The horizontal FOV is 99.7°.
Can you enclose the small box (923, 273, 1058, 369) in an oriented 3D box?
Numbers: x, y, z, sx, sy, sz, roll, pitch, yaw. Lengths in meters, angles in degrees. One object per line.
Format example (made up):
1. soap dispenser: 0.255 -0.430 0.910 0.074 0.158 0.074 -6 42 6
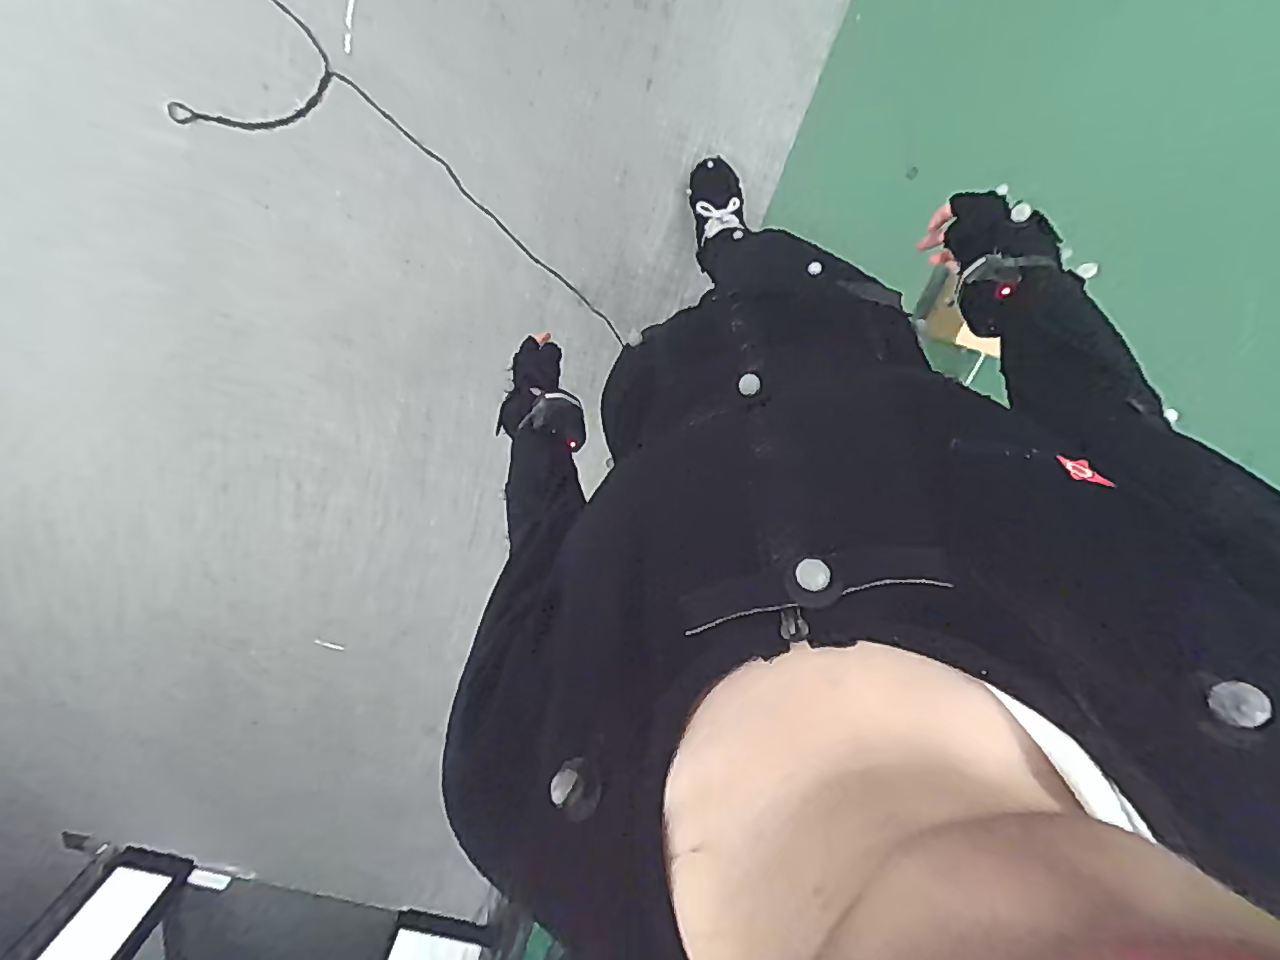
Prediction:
1. small box: 0.806 -0.376 1.268 0.179 0.176 0.168 17 113 -4
